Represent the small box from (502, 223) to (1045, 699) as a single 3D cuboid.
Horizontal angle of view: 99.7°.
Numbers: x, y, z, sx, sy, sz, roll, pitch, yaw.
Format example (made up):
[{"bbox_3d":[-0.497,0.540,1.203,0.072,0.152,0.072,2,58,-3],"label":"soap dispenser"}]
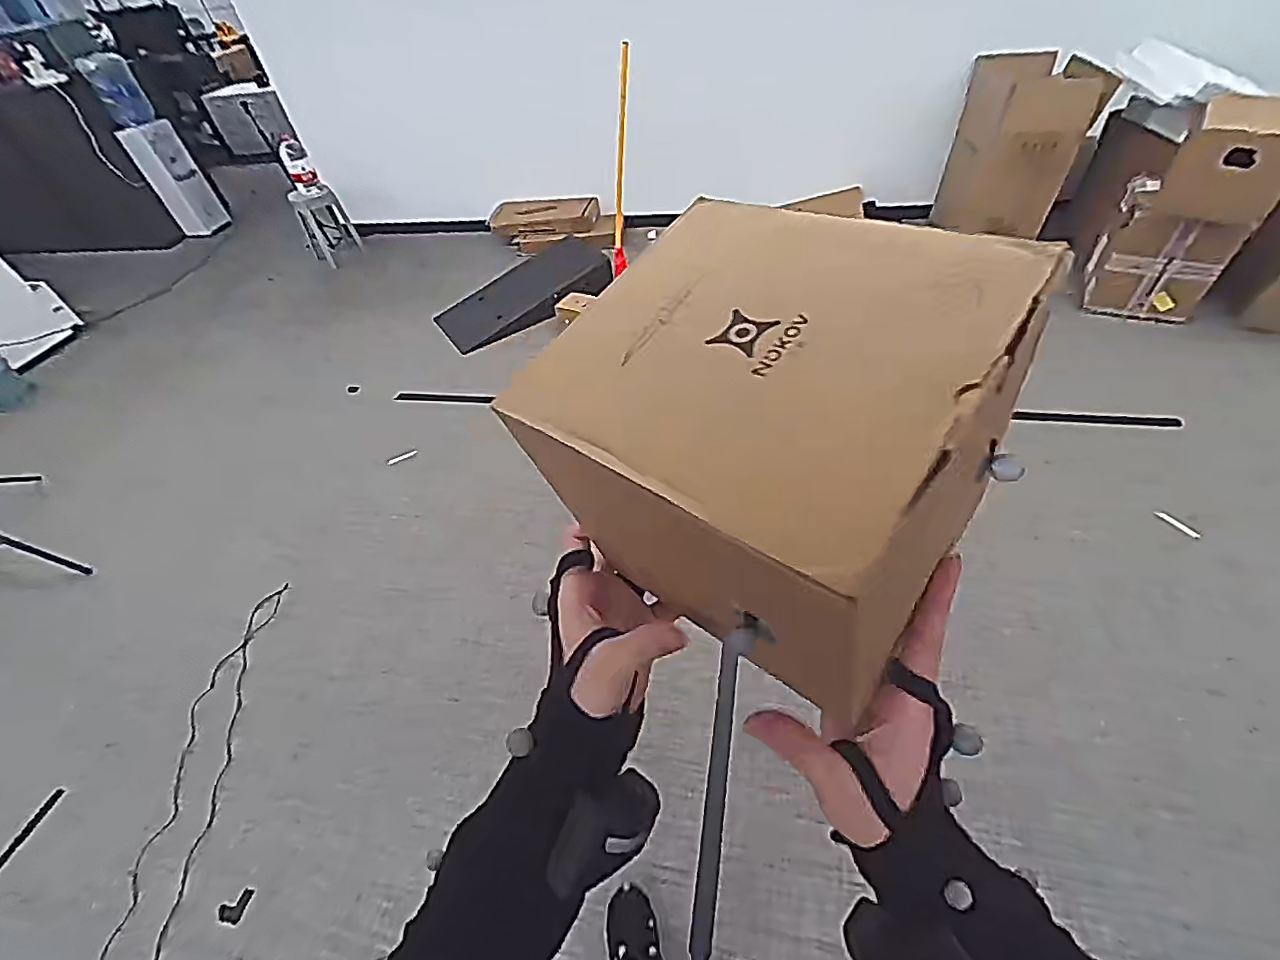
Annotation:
[{"bbox_3d":[0.069,-0.006,0.294,0.179,0.176,0.168,26,67,34],"label":"small box"}]
